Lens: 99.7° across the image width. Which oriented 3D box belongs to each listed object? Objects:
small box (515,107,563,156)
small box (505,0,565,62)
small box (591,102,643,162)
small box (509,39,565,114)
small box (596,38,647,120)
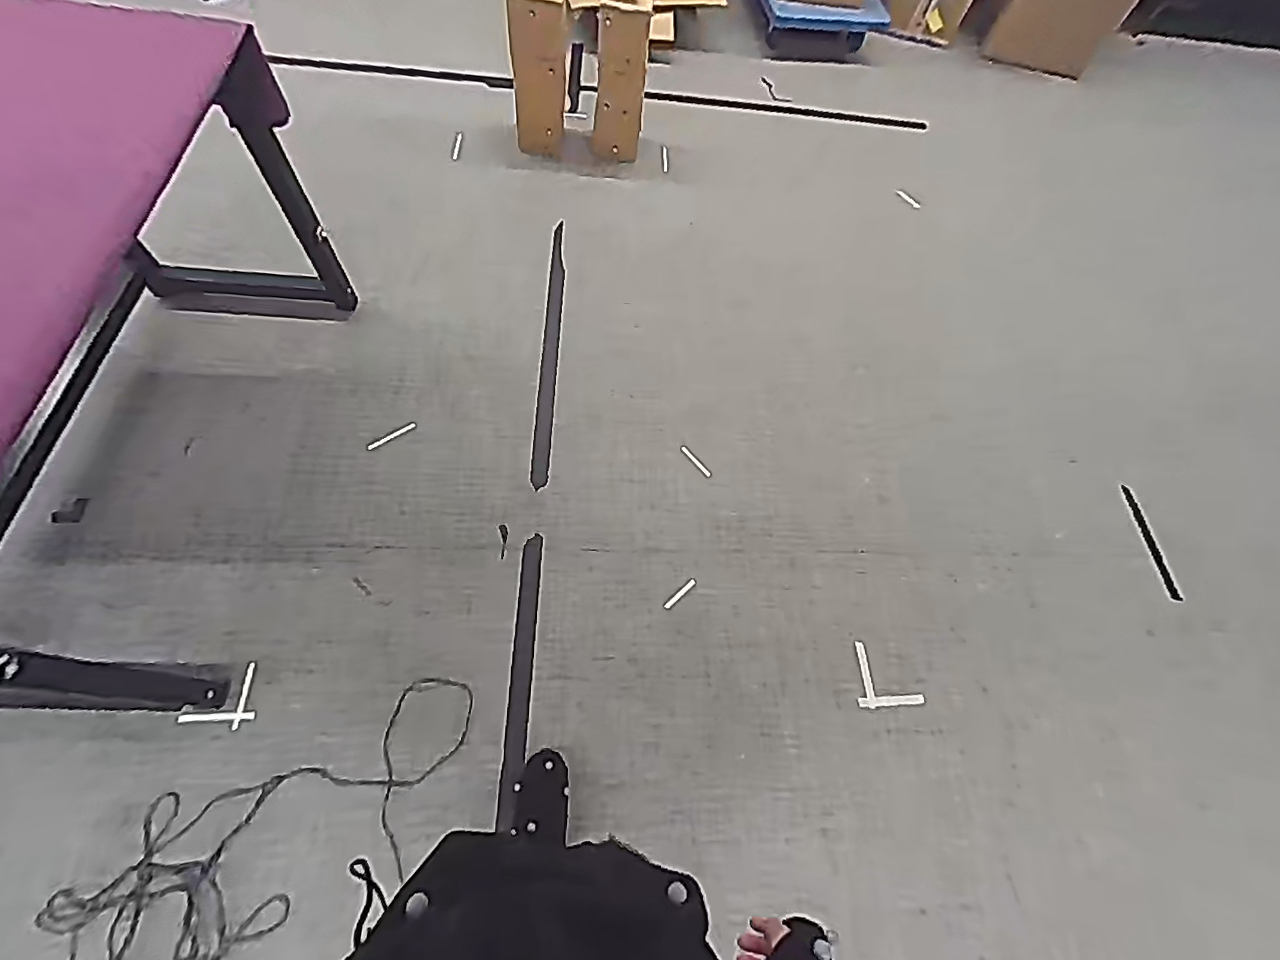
[{"bbox_3d":[-0.379,-1.362,2.044,0.168,0.176,0.179,2,64,-8],"label":"small box"},{"bbox_3d":[-0.337,-1.494,1.748,0.179,0.176,0.168,3,65,-8],"label":"small box"},{"bbox_3d":[-0.089,-1.361,2.081,0.179,0.176,0.168,7,64,-5],"label":"small box"},{"bbox_3d":[-0.356,-1.423,1.895,0.179,0.176,0.168,3,65,-8],"label":"small box"},{"bbox_3d":[-0.067,-1.426,1.931,0.168,0.176,0.179,5,64,-5],"label":"small box"}]
